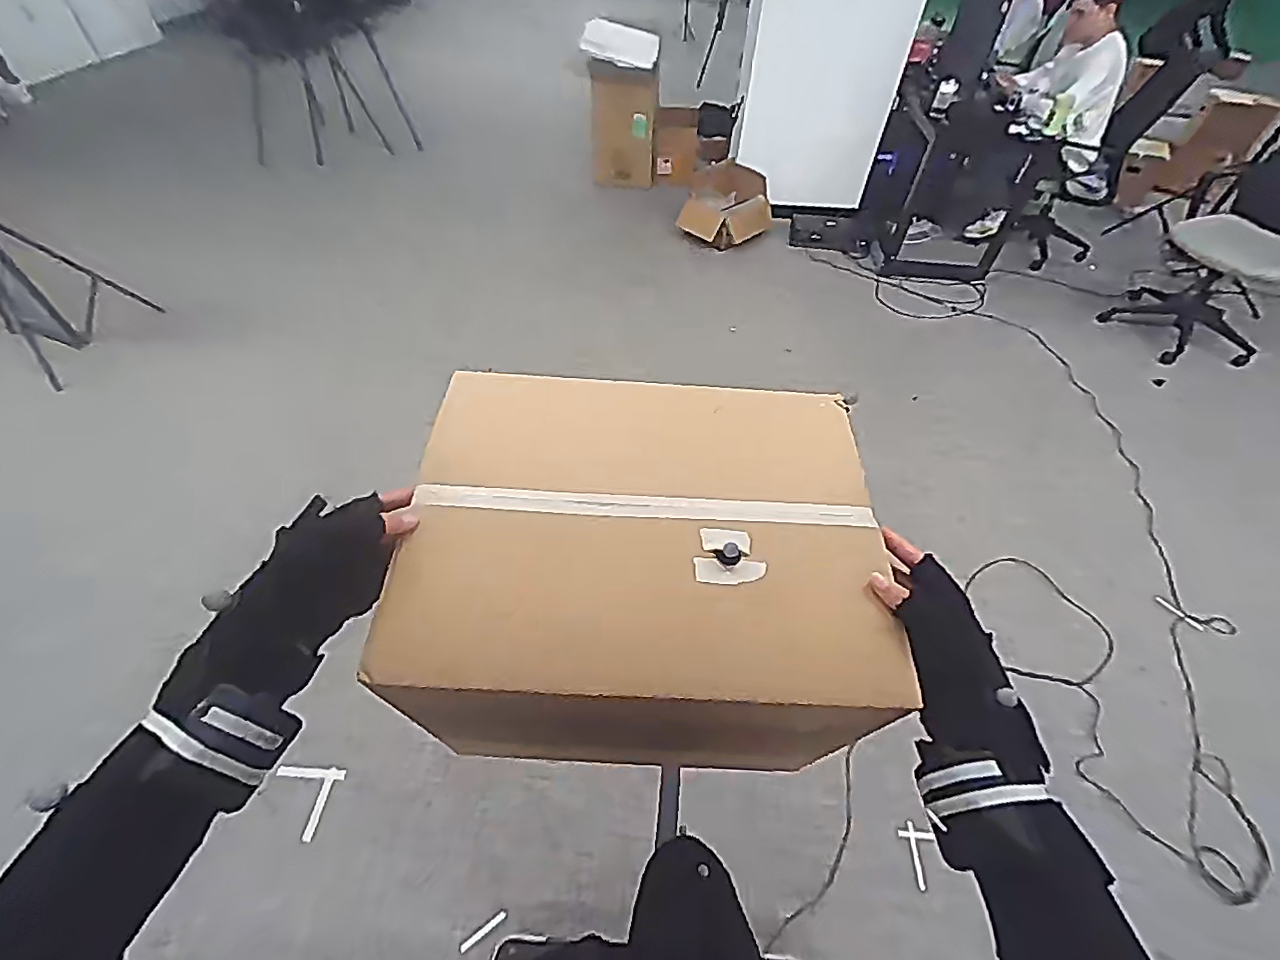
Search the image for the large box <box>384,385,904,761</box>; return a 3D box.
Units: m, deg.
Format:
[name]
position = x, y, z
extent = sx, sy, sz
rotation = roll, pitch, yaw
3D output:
[large box]
position = -0.001, 0.119, 0.612
extent = 0.408, 0.320, 0.320
rotation = 4, 55, -2
